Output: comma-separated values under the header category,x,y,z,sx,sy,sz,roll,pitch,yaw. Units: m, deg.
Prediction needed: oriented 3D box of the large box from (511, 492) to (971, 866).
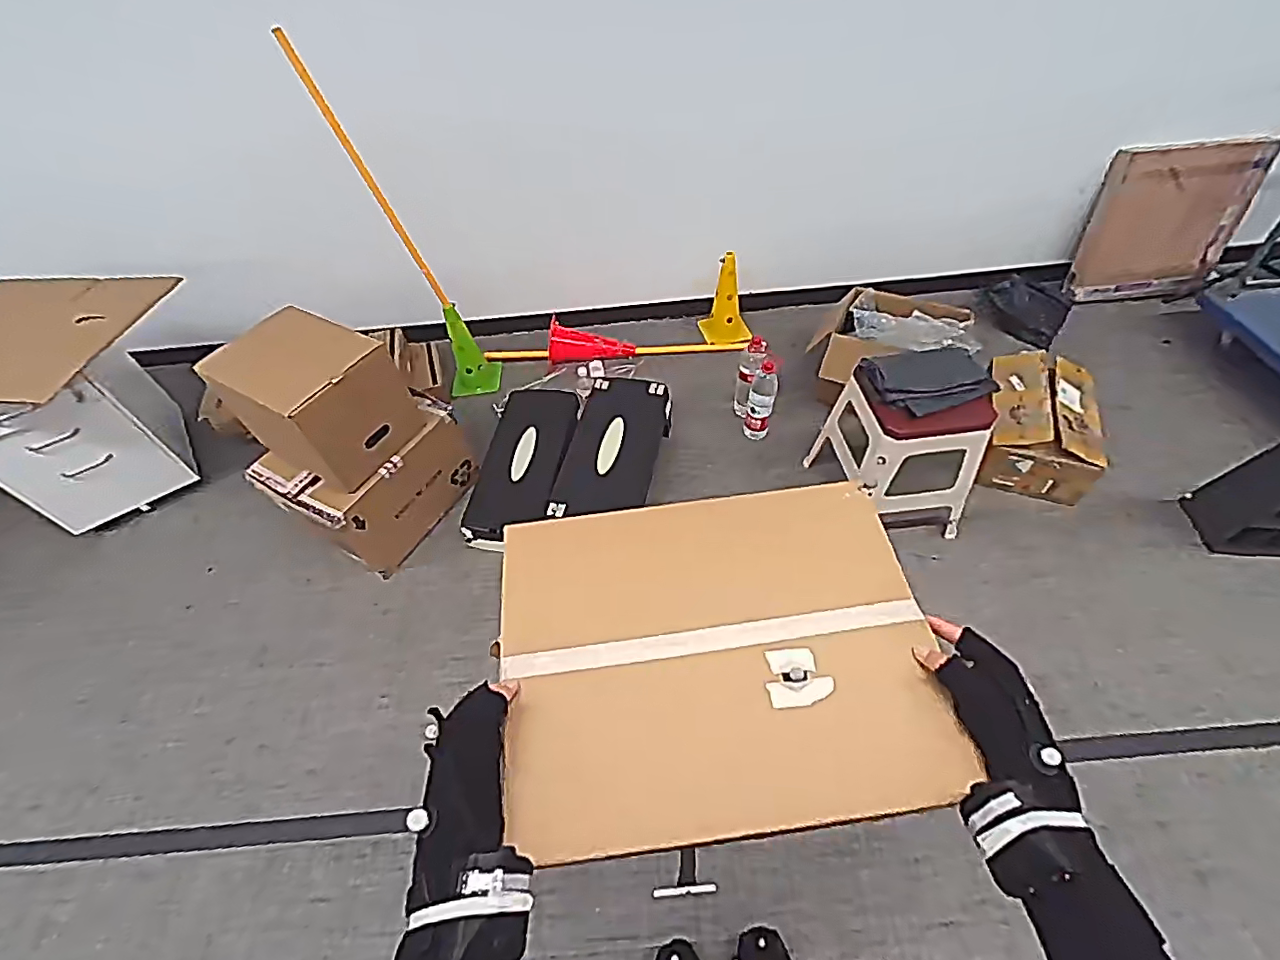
category,x,y,z,sx,sy,sz,roll,pitch,yaw
large box,0.075,0.249,0.659,0.408,0.320,0.320,-7,56,-2
